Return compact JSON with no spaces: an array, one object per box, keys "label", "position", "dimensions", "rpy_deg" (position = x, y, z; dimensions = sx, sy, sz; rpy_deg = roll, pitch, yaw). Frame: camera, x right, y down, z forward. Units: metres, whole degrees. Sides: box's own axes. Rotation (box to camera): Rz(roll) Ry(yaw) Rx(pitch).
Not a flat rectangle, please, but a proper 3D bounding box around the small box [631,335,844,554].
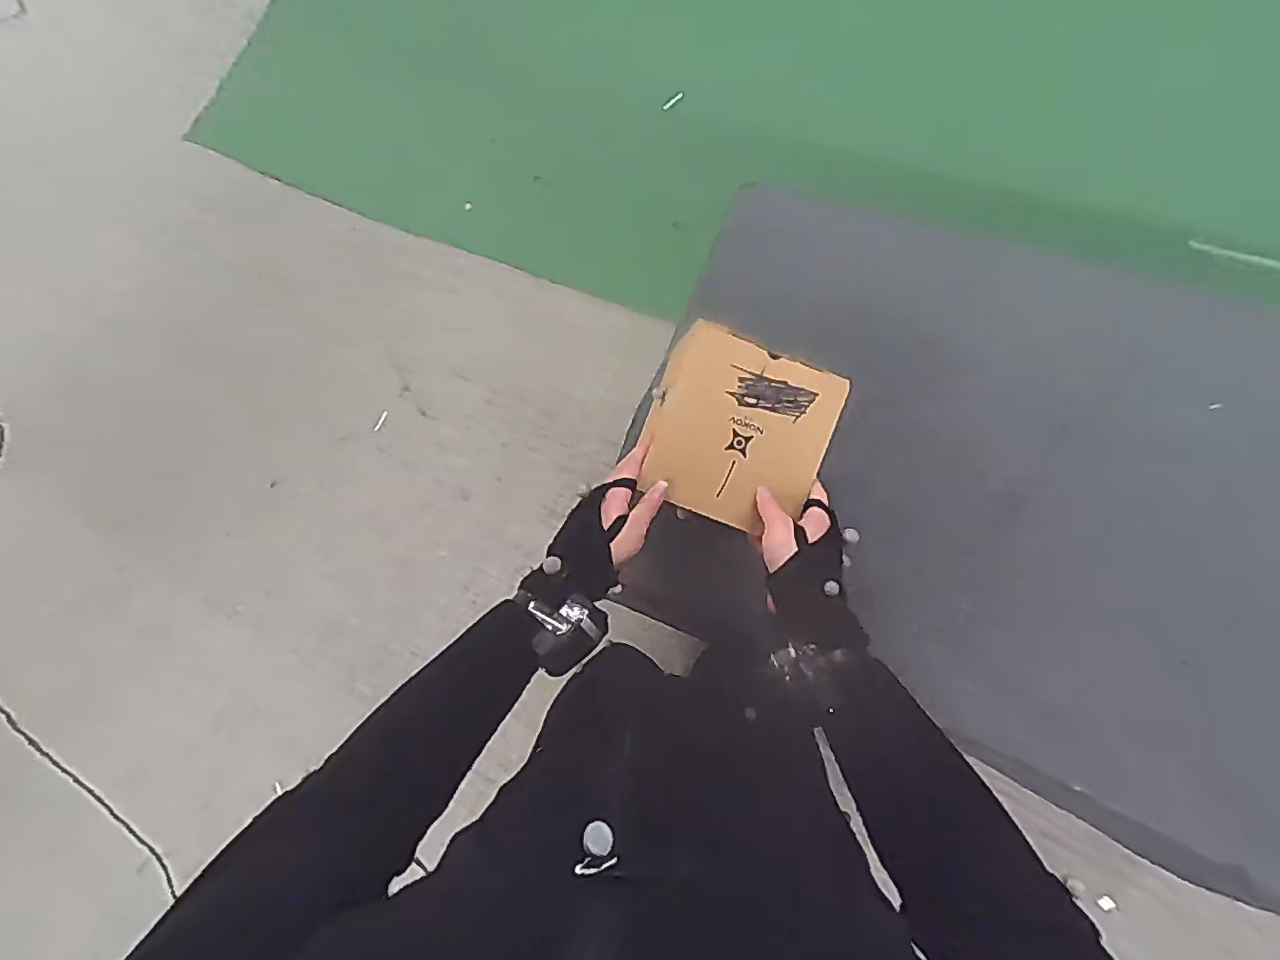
[{"label":"small box","position":[0.094,-0.038,0.613],"dimensions":[0.168,0.176,0.179],"rpy_deg":[20,91,-5]}]
